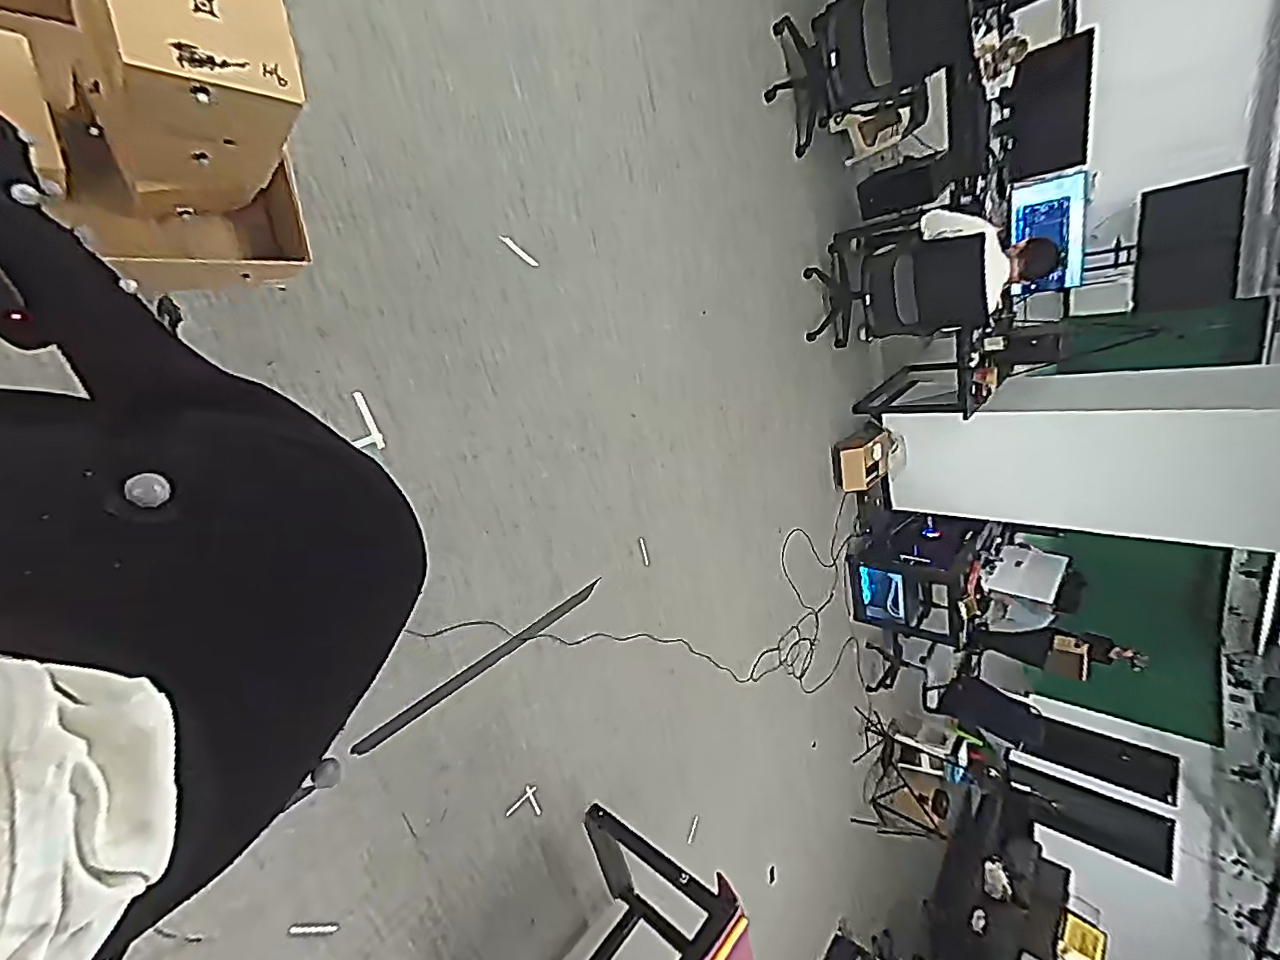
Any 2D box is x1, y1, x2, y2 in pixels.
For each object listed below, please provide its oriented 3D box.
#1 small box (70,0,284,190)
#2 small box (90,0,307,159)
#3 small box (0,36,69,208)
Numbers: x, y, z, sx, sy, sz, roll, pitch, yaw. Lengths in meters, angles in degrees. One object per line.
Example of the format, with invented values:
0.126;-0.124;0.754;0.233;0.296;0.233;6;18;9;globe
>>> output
-0.632;-0.518;0.749;0.179;0.176;0.168;-23;109;-40;small box
-0.517;-0.513;0.631;0.168;0.176;0.179;-15;103;-41;small box
-0.904;-0.477;0.716;0.179;0.176;0.168;-18;106;-43;small box
